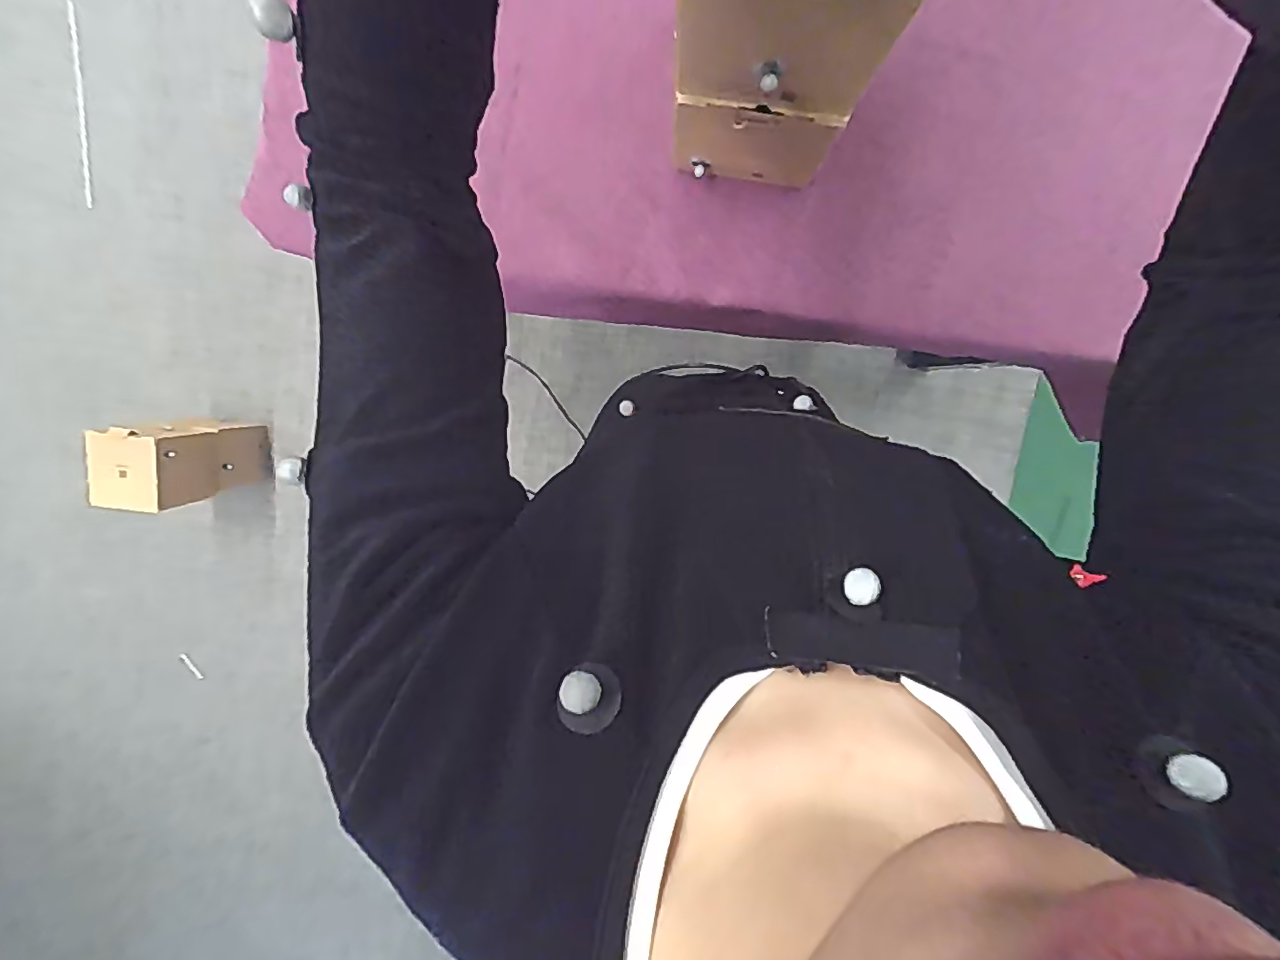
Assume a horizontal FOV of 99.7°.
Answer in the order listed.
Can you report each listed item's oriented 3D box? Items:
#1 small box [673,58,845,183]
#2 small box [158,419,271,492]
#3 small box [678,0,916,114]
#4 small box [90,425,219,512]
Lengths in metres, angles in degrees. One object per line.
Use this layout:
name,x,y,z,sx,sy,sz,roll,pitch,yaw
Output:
small box,0.132,-0.445,0.578,0.168,0.176,0.179,10,99,2
small box,-1.141,-0.072,1.458,0.179,0.176,0.168,7,100,3
small box,0.122,-0.426,0.415,0.168,0.176,0.179,9,100,2
small box,-1.155,-0.033,1.300,0.168,0.176,0.179,6,100,2
